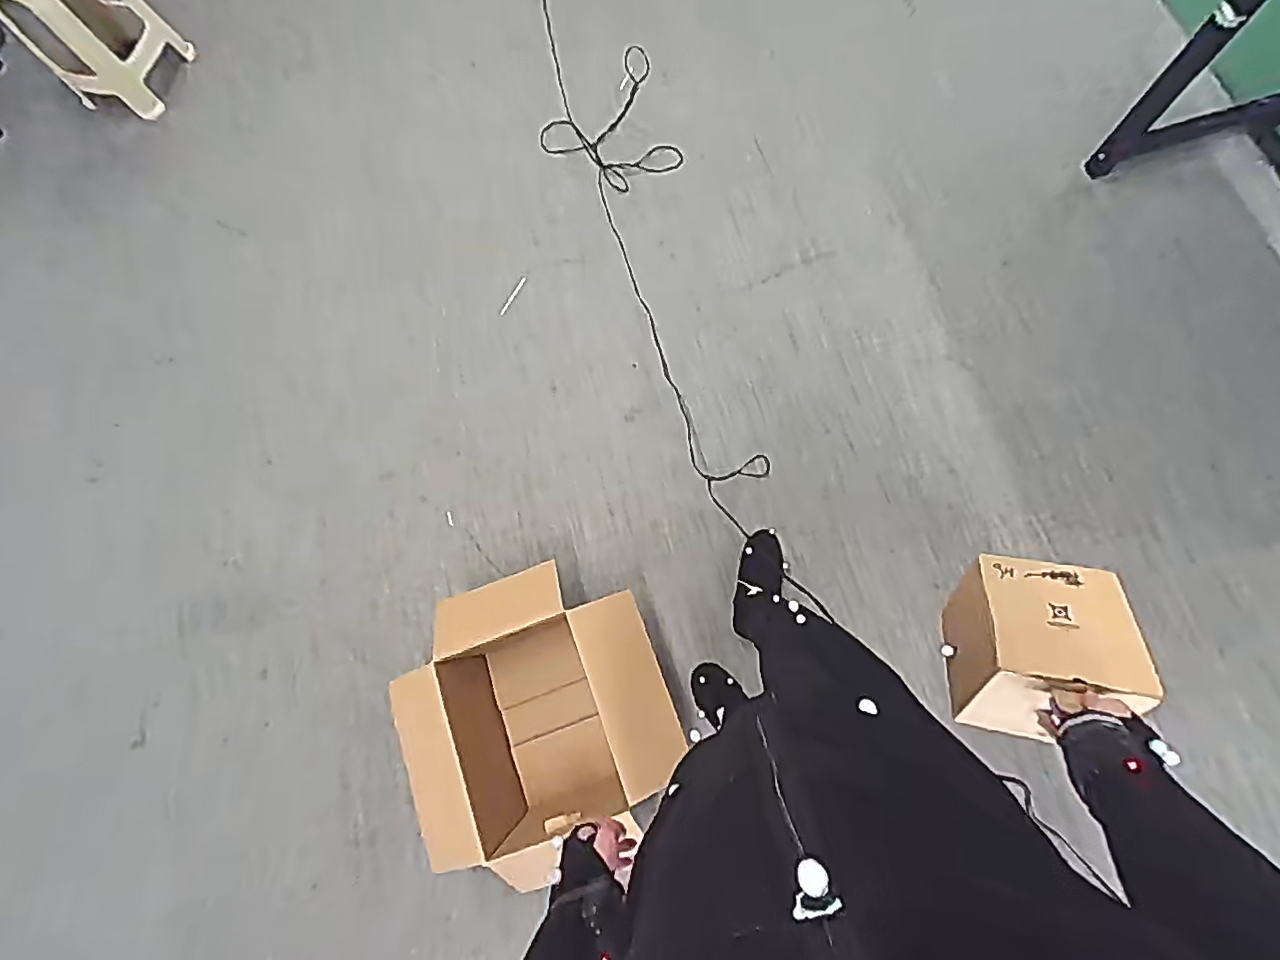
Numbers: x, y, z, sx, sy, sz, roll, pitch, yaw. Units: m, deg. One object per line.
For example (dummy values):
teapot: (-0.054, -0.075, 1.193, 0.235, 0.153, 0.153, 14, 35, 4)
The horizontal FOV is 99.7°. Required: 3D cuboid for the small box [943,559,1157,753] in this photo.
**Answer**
small box: (0.525, 0.237, 0.726, 0.168, 0.176, 0.179, 9, 47, 15)
